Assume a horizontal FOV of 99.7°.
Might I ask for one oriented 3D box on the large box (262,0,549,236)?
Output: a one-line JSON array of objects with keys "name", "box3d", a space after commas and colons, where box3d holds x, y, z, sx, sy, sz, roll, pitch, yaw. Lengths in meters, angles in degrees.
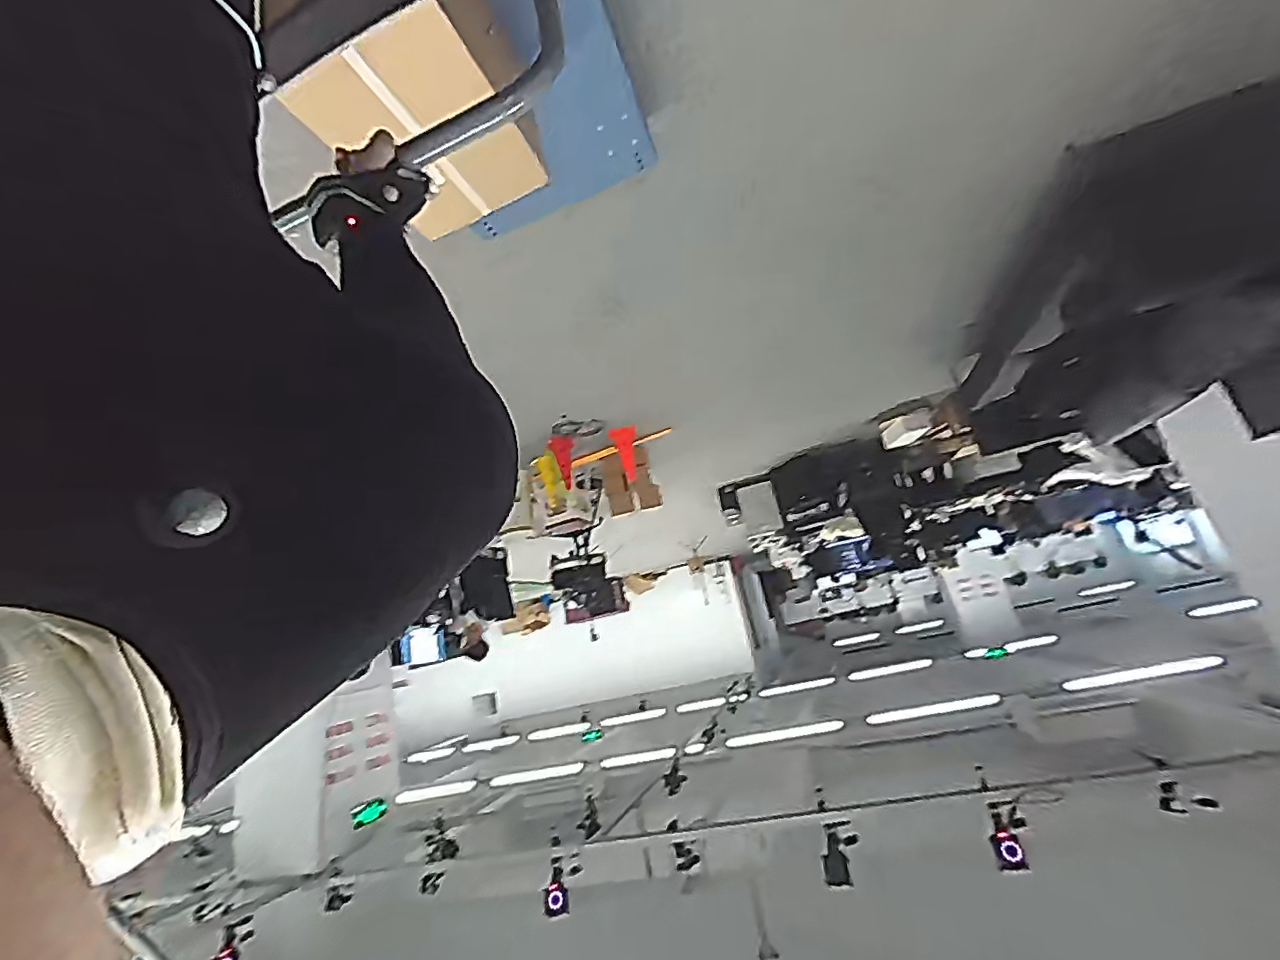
[{"name": "large box", "box3d": [-0.431, -0.774, 1.044, 0.320, 0.320, 0.408, -18, 163, 14]}]
